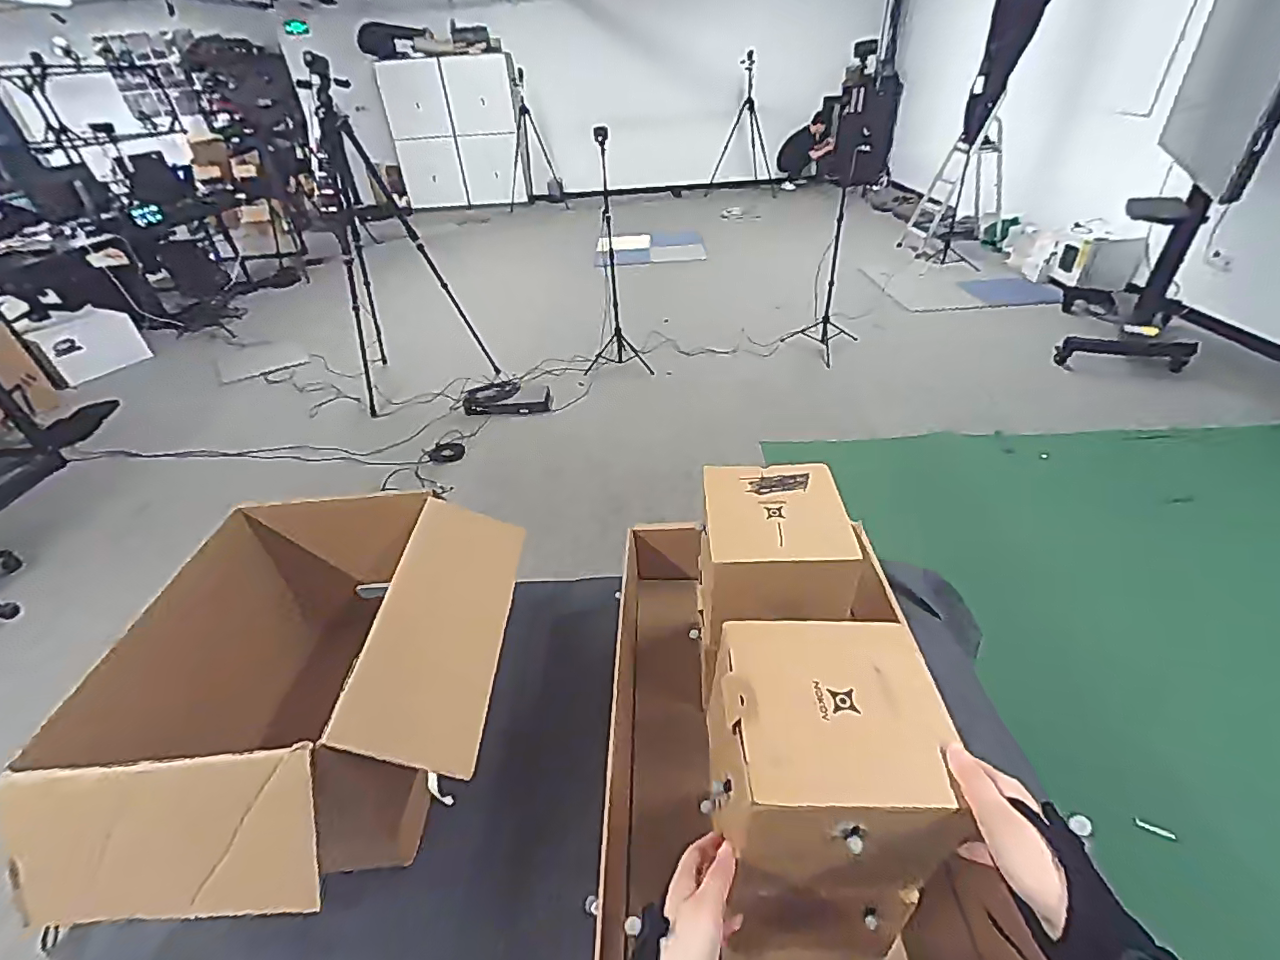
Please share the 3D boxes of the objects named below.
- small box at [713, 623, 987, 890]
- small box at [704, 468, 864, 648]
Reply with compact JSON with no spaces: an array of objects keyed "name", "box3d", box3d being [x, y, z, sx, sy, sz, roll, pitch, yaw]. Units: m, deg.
[{"name":"small box","box3d":[0.164,0.252,0.497,0.179,0.176,0.168,2,37,-1]},{"name":"small box","box3d":[0.169,0.102,0.703,0.168,0.176,0.179,-2,39,4]}]
